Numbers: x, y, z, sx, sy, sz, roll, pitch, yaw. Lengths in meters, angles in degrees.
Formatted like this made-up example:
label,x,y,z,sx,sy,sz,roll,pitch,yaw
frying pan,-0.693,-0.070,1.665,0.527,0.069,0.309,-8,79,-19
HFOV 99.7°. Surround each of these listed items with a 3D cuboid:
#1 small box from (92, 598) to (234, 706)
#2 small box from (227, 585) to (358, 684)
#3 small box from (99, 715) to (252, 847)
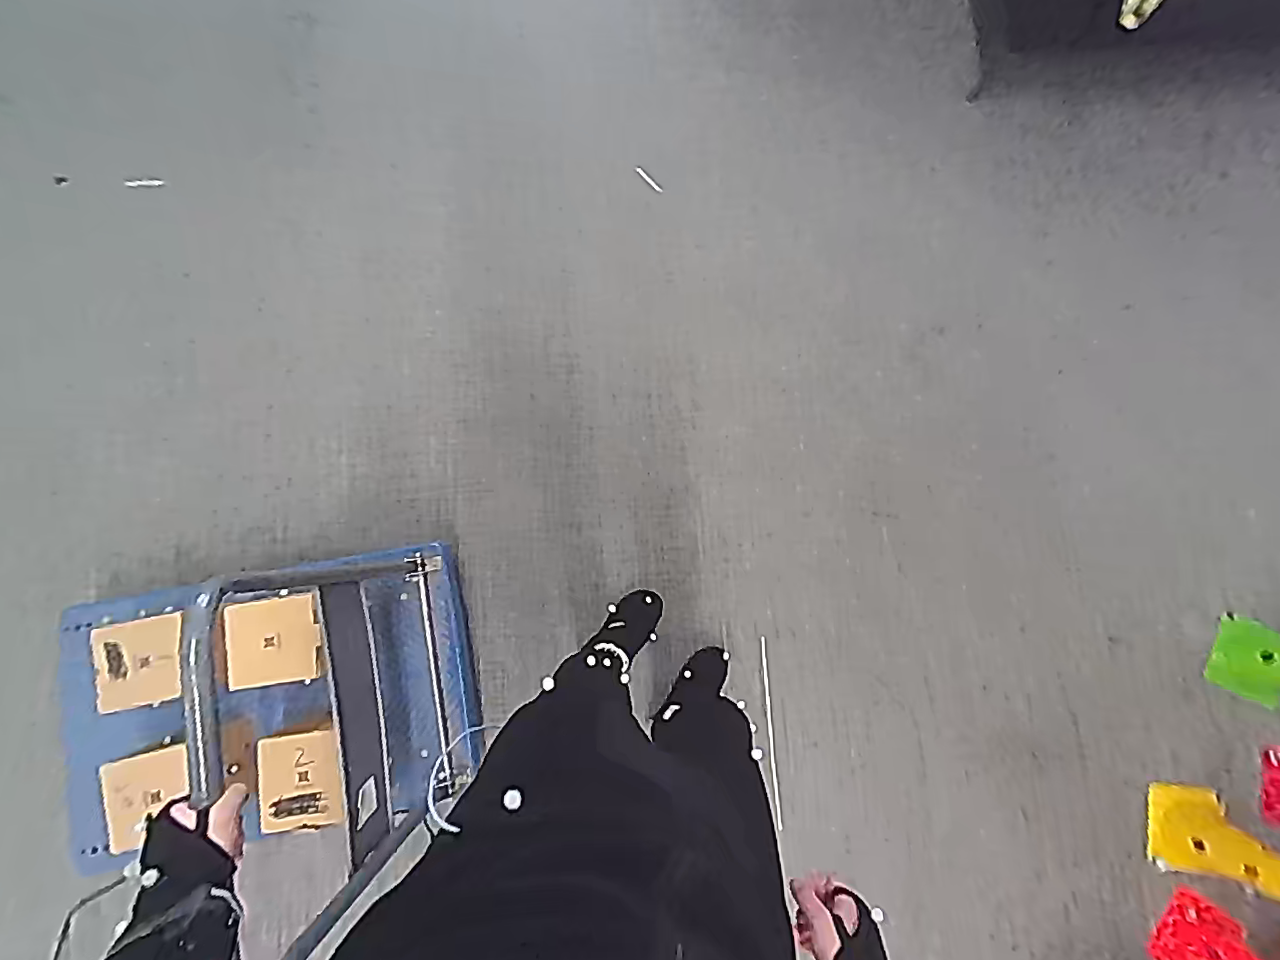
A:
label,x,y,z,sx,sy,sz,roll,pitch,yaw
small box,-0.977,0.352,1.135,0.179,0.176,0.168,-11,85,-4
small box,-0.731,0.321,1.150,0.179,0.176,0.168,-7,84,-3
small box,-0.935,0.603,1.109,0.179,0.176,0.168,-13,83,-4
